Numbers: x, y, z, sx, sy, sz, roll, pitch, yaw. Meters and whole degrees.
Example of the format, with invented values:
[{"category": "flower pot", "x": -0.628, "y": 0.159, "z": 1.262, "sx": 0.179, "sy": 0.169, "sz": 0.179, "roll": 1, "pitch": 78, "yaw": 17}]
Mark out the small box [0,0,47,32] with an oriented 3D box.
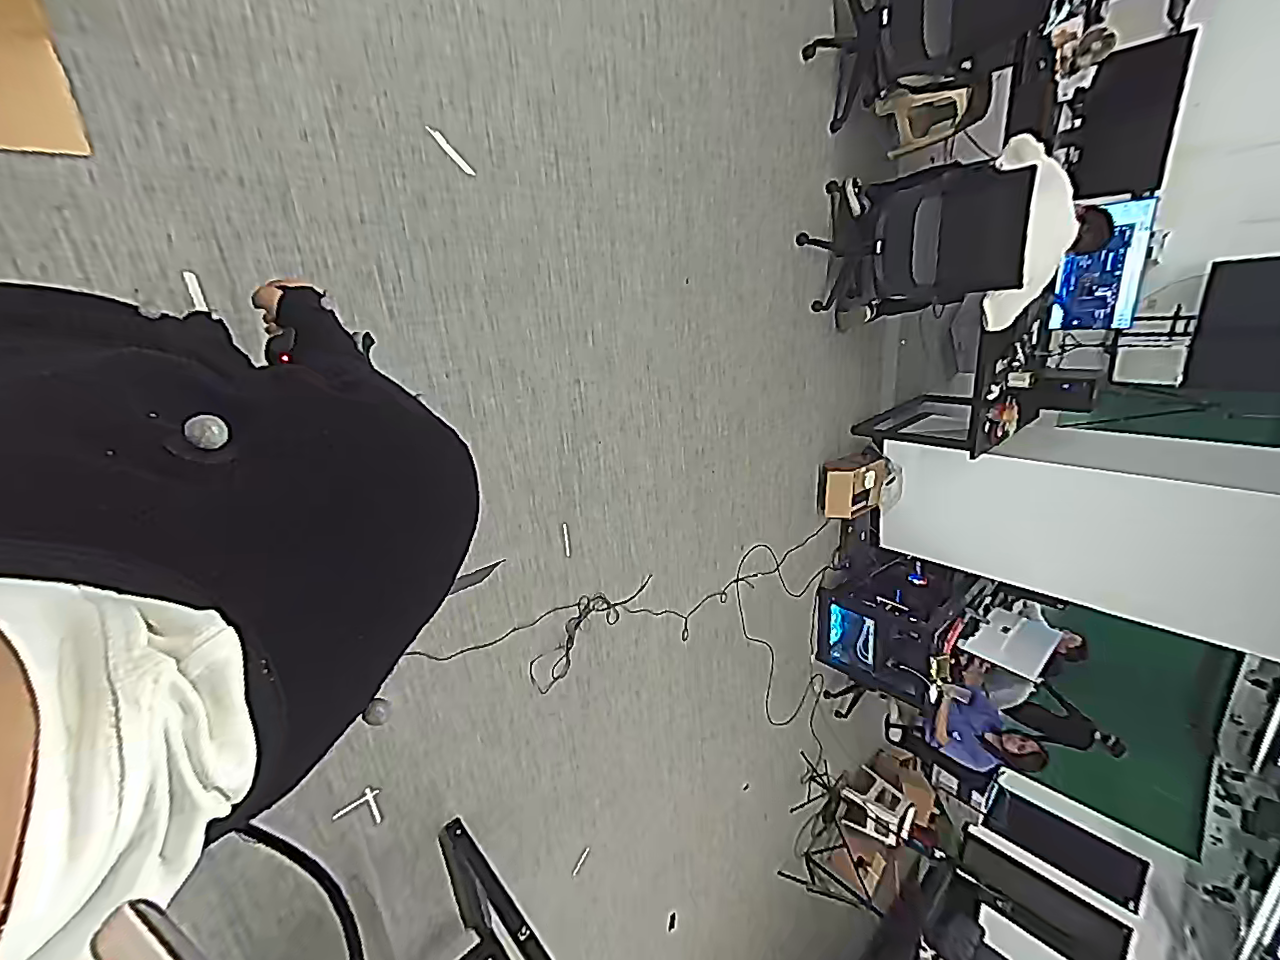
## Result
[{"category": "small box", "x": -1.135, "y": -0.864, "z": 0.880, "sx": 0.179, "sy": 0.176, "sz": 0.168, "roll": -30, "pitch": 120, "yaw": -34}]
